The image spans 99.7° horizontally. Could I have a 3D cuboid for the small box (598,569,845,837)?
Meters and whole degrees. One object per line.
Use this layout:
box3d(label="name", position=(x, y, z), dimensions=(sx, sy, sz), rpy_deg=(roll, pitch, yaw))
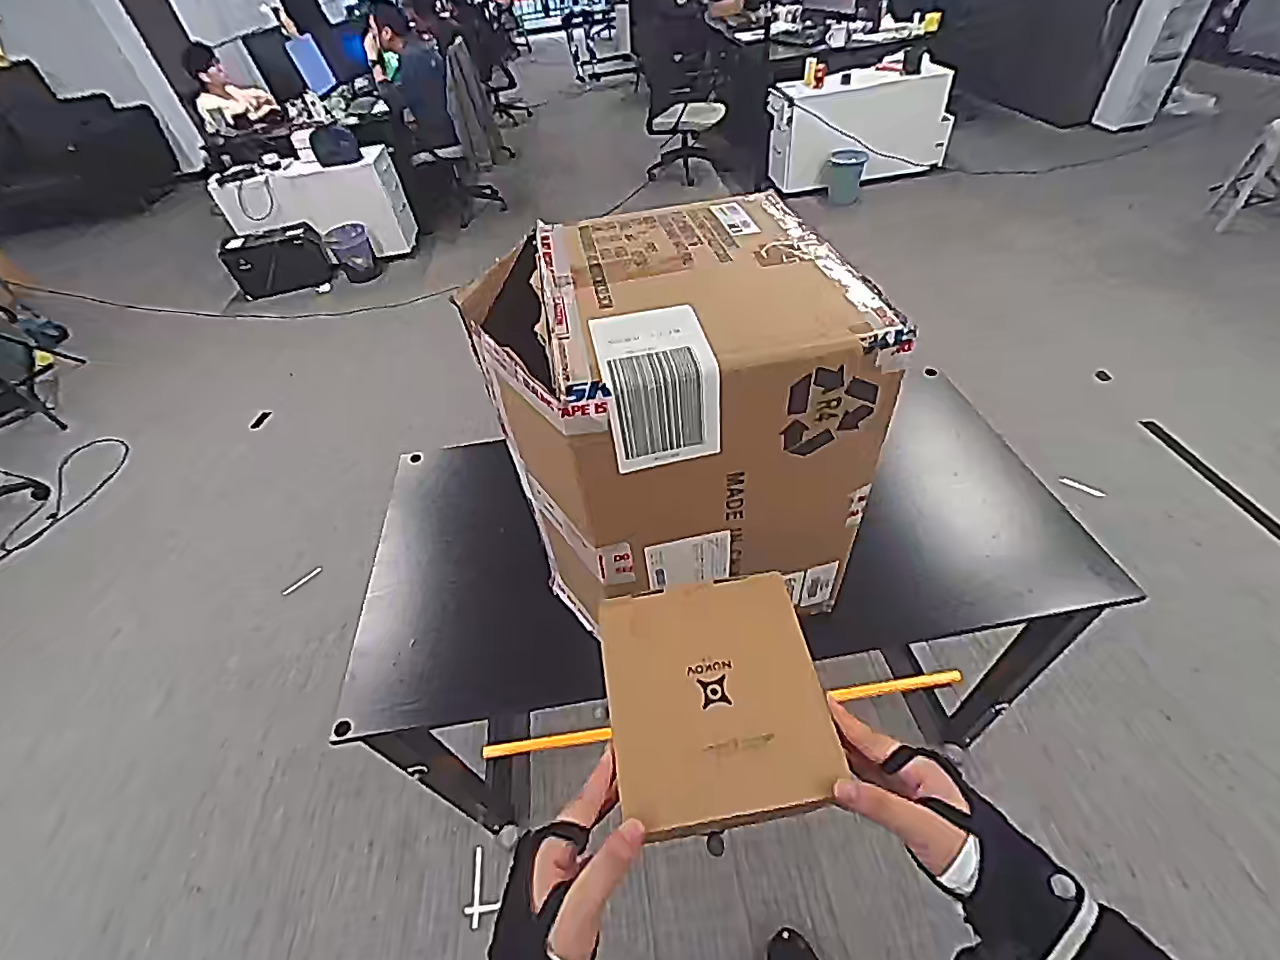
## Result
box3d(label="small box", position=(0.057, 0.205, 0.491), dimensions=(0.168, 0.176, 0.179), rpy_deg=(-9, 55, -3))
